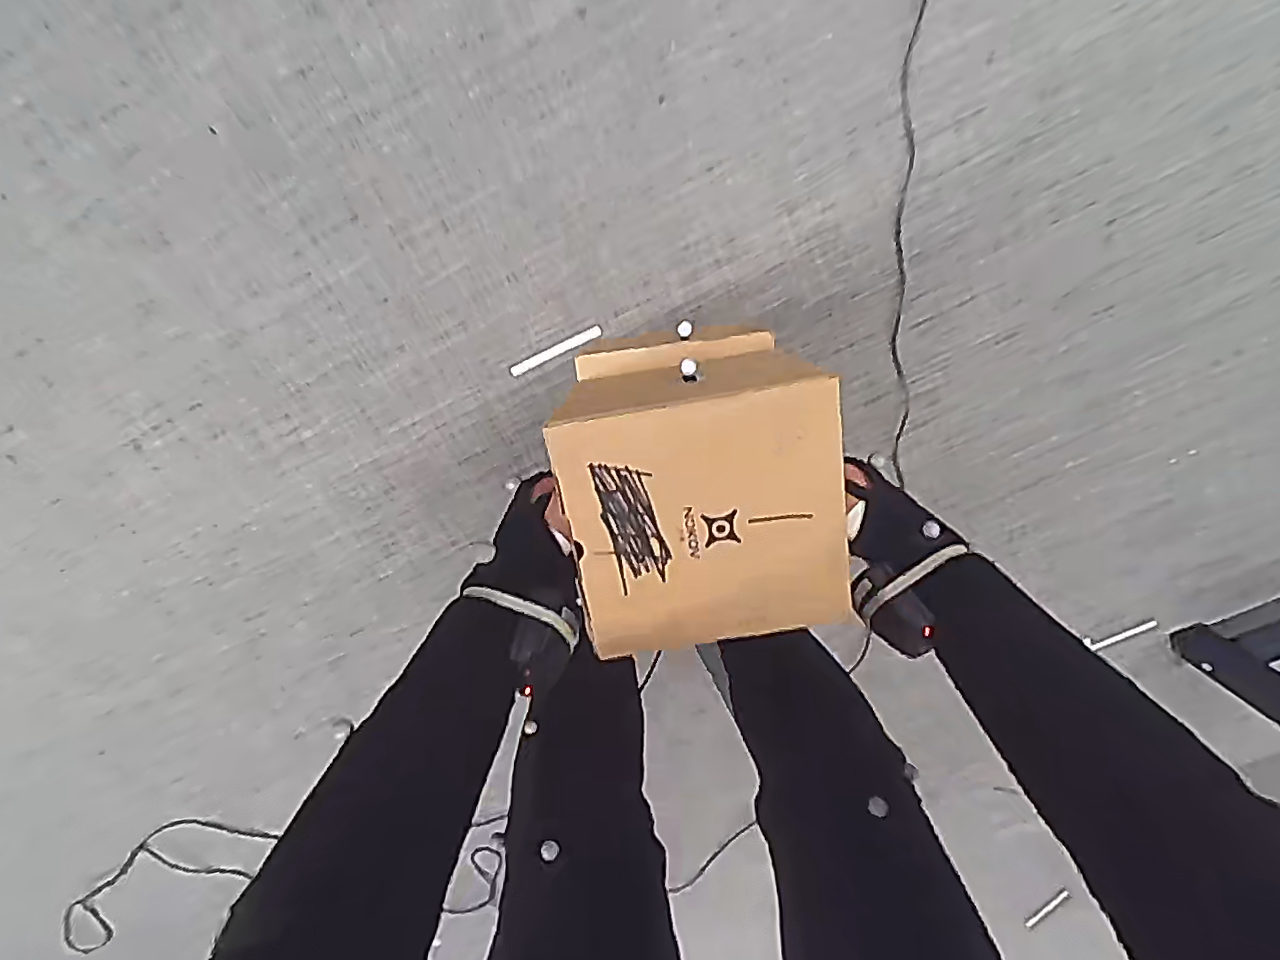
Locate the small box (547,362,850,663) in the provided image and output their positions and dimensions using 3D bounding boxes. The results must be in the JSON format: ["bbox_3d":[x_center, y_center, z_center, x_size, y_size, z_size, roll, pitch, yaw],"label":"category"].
[{"bbox_3d":[0.041,0.011,0.415,0.179,0.176,0.168,-10,109,2],"label":"small box"}]

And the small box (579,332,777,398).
[{"bbox_3d":[0.037,-0.059,0.566,0.179,0.176,0.168,-7,108,1],"label":"small box"}]
